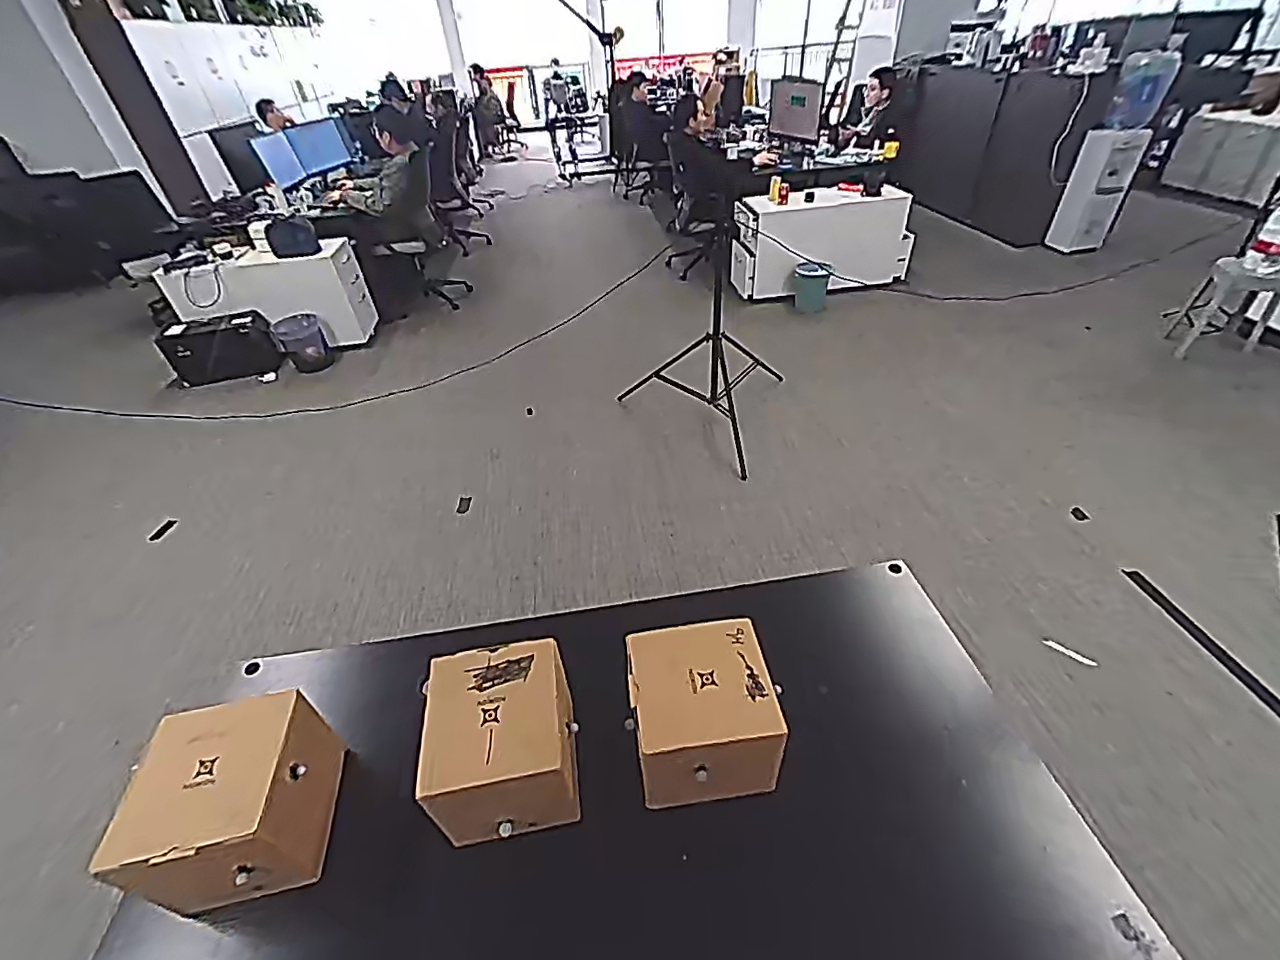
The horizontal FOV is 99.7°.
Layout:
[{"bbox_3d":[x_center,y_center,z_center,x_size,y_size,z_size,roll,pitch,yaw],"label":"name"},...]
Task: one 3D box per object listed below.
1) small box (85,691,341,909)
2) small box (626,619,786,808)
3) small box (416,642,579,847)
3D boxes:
[{"bbox_3d":[-0.502,0.401,0.675,0.168,0.176,0.179,-9,39,-8],"label":"small box"},{"bbox_3d":[0.082,0.315,0.727,0.179,0.176,0.168,-8,39,-3],"label":"small box"},{"bbox_3d":[-0.176,0.345,0.713,0.168,0.176,0.179,-9,41,-5],"label":"small box"}]
